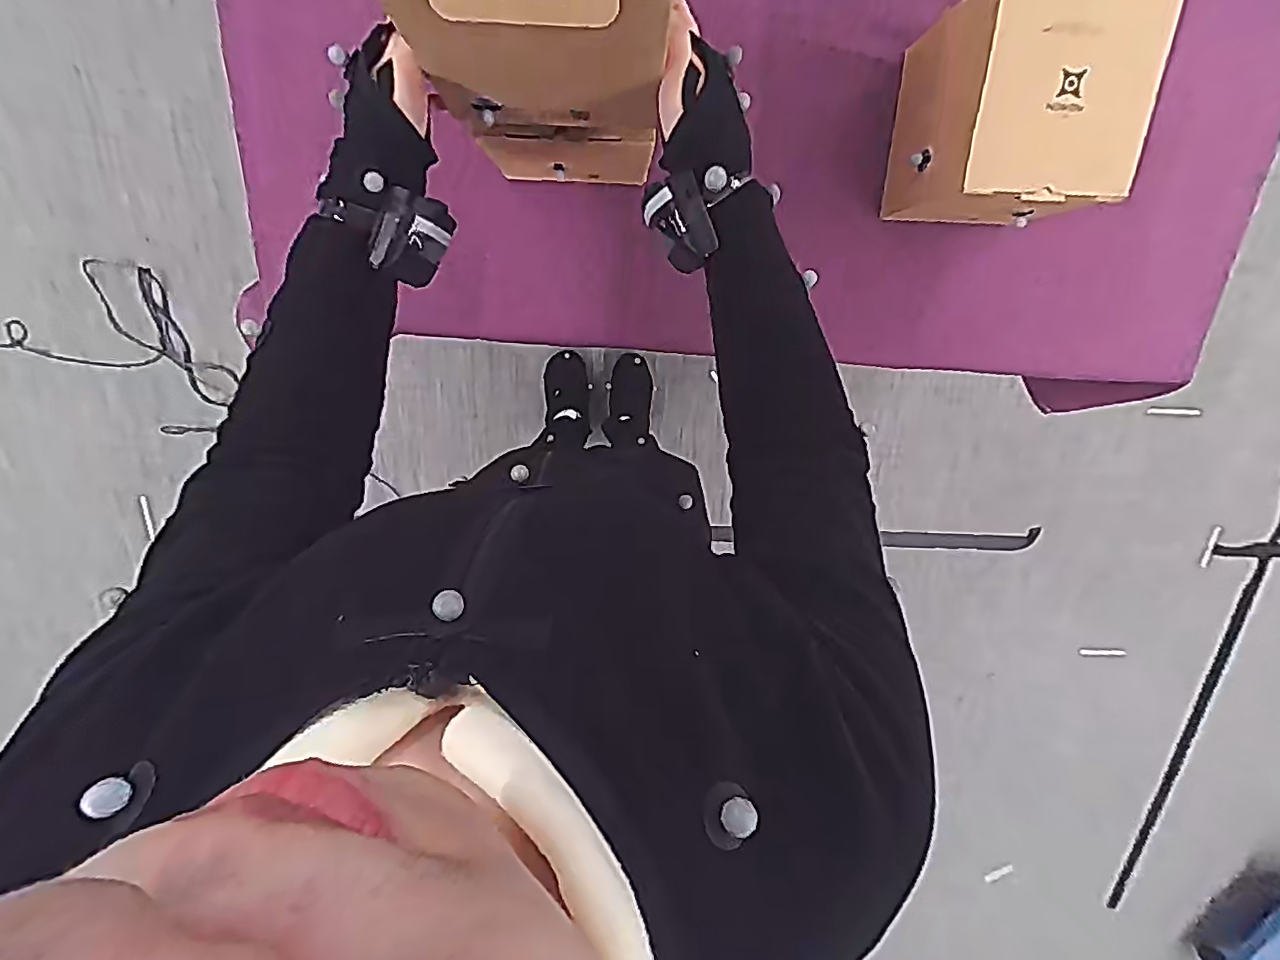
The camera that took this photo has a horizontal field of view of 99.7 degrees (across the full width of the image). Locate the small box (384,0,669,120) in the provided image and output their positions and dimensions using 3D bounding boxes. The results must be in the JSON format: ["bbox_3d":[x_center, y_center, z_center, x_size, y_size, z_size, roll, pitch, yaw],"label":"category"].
[{"bbox_3d":[-0.062,-0.361,0.345,0.168,0.176,0.179,1,100,-2],"label":"small box"}]

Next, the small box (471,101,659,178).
[{"bbox_3d":[-0.068,-0.412,0.526,0.168,0.176,0.179,1,110,-3],"label":"small box"}]

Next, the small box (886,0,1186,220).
[{"bbox_3d":[0.379,-0.375,0.557,0.168,0.176,0.179,1,108,-3],"label":"small box"}]
